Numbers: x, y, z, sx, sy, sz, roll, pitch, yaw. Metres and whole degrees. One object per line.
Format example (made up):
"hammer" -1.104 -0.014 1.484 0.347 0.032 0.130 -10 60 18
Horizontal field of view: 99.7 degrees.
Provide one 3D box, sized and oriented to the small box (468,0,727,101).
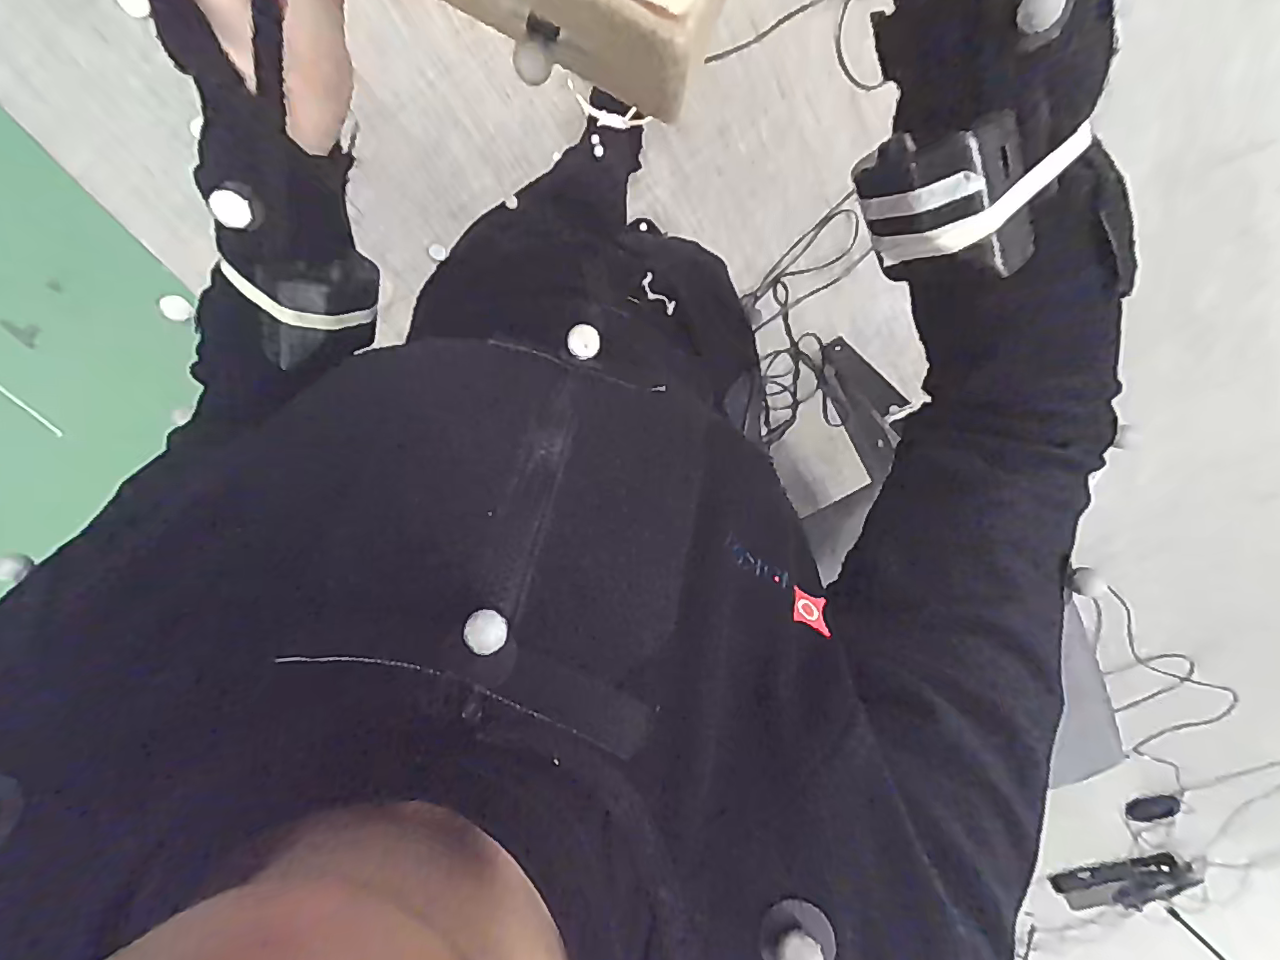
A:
"small box" -0.025 -0.225 0.124 0.168 0.176 0.179 22 116 -10
